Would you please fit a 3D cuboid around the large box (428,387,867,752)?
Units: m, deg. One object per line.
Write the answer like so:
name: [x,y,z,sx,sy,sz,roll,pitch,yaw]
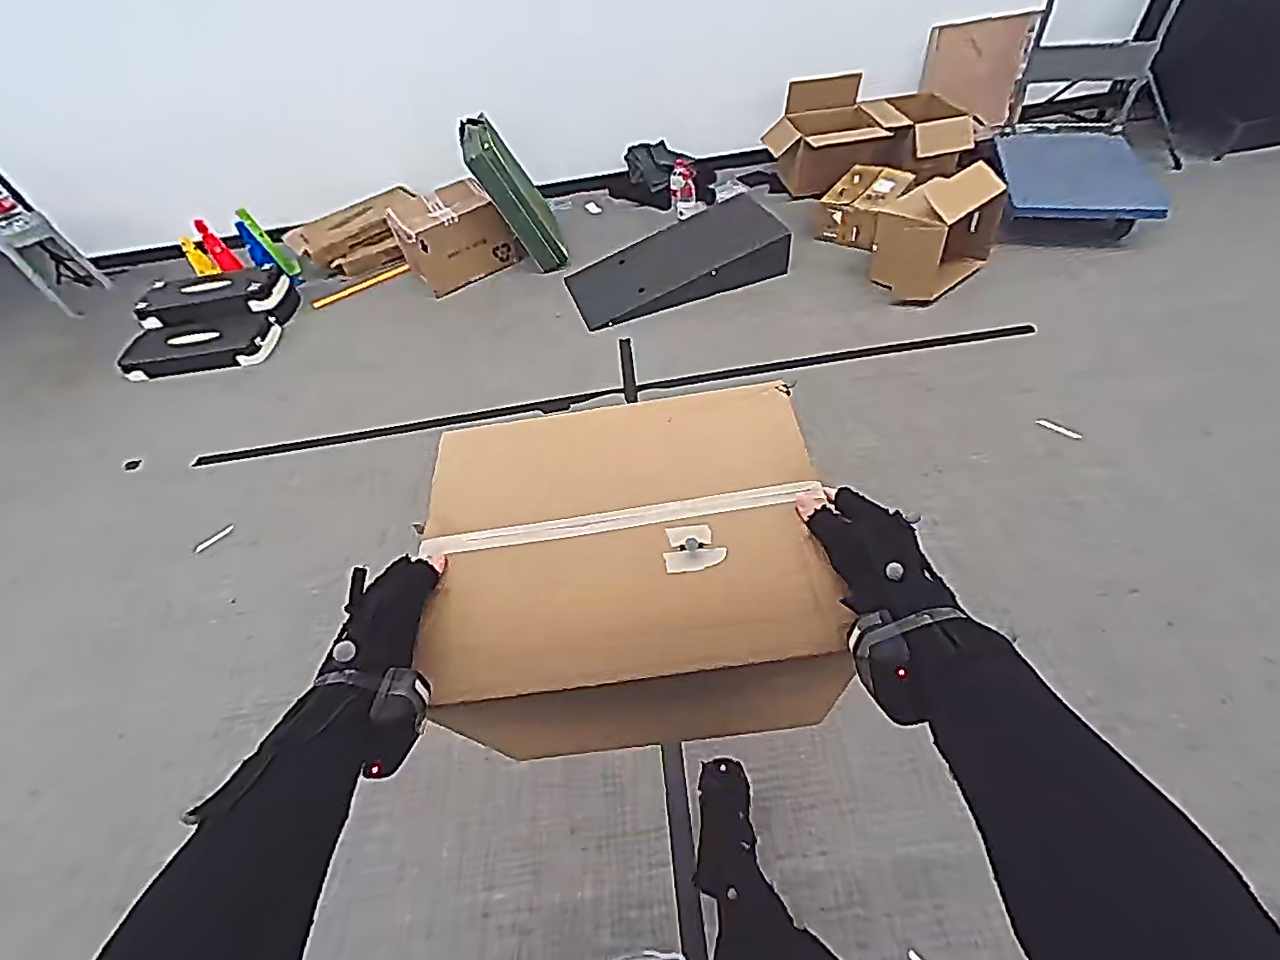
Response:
large box: [0.003,0.126,0.682,0.408,0.320,0.320,-8,55,1]
